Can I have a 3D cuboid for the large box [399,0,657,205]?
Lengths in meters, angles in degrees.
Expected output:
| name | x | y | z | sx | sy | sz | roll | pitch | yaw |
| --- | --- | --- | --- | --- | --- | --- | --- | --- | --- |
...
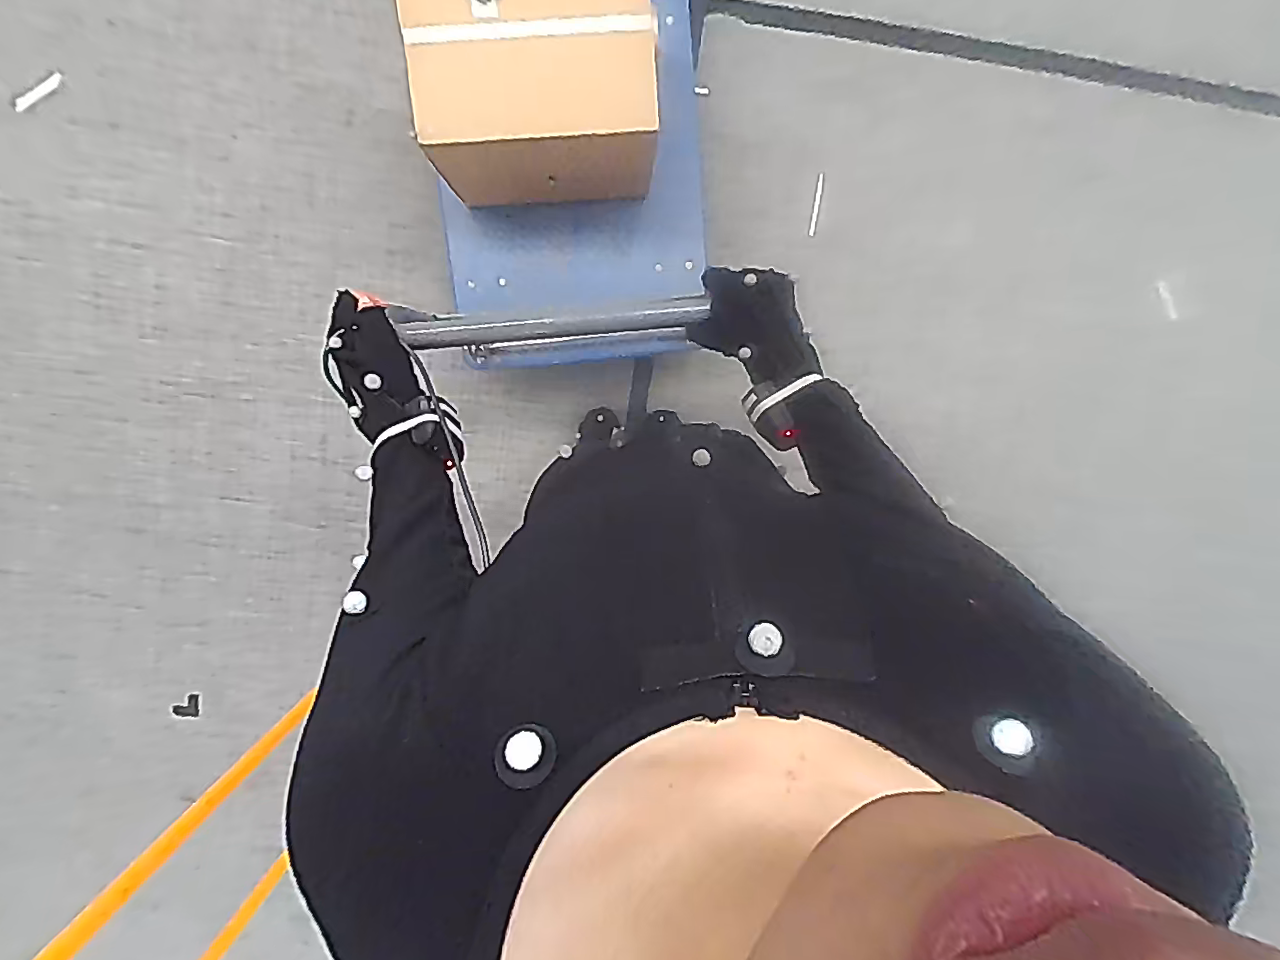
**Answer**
| name | x | y | z | sx | sy | sz | roll | pitch | yaw |
| --- | --- | --- | --- | --- | --- | --- | --- | --- | --- |
| large box | -0.186 | -0.743 | 1.024 | 0.408 | 0.320 | 0.320 | -5 | 99 | -2 |
